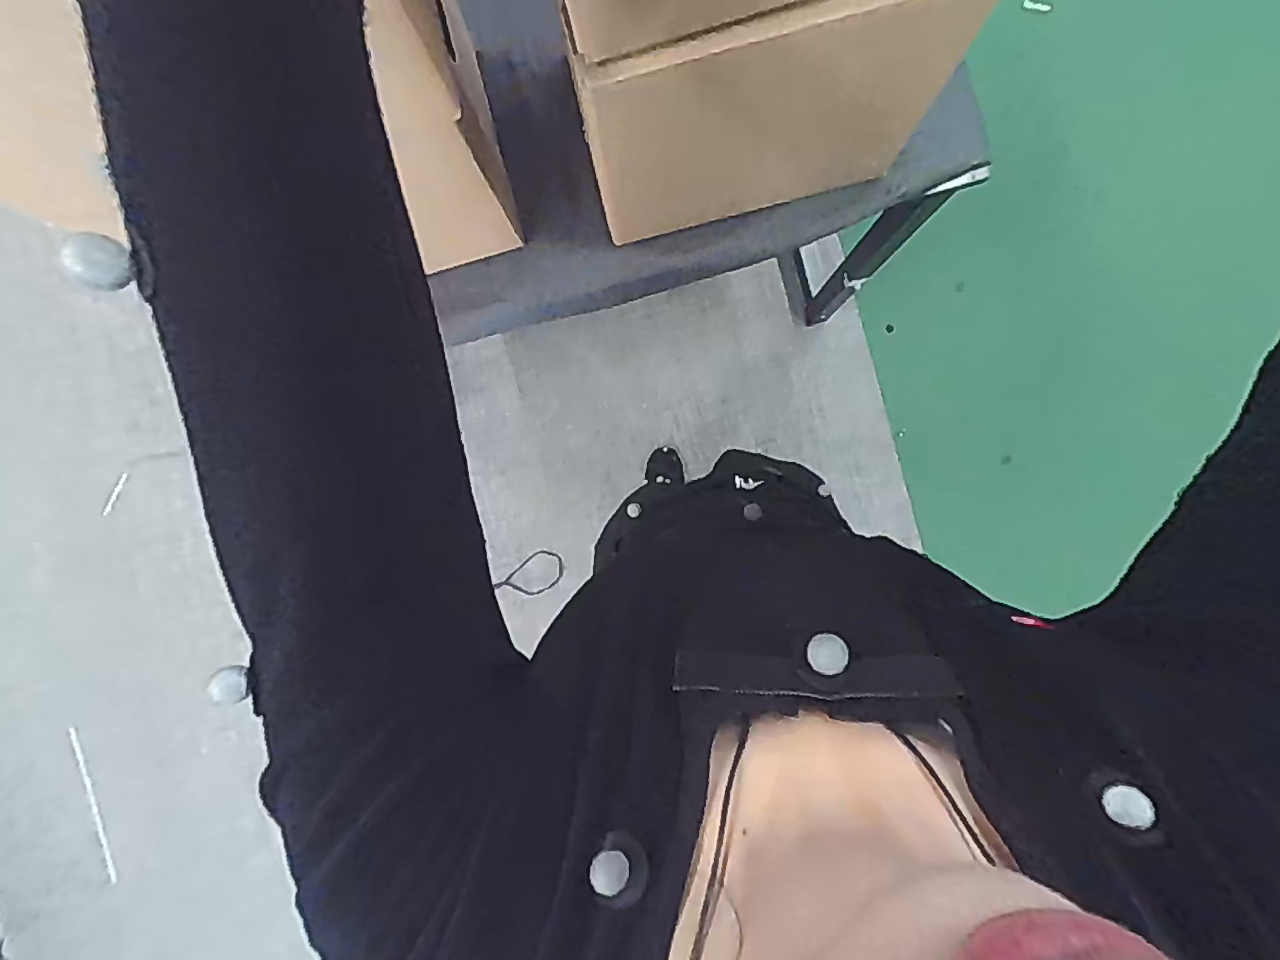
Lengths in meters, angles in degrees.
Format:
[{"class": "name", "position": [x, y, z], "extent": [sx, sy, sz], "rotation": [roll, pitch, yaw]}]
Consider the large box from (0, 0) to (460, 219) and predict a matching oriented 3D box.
[{"class": "large box", "position": [-0.392, -0.436, 0.354], "extent": [0.408, 0.320, 0.320], "rotation": [-14, 90, 0]}]
